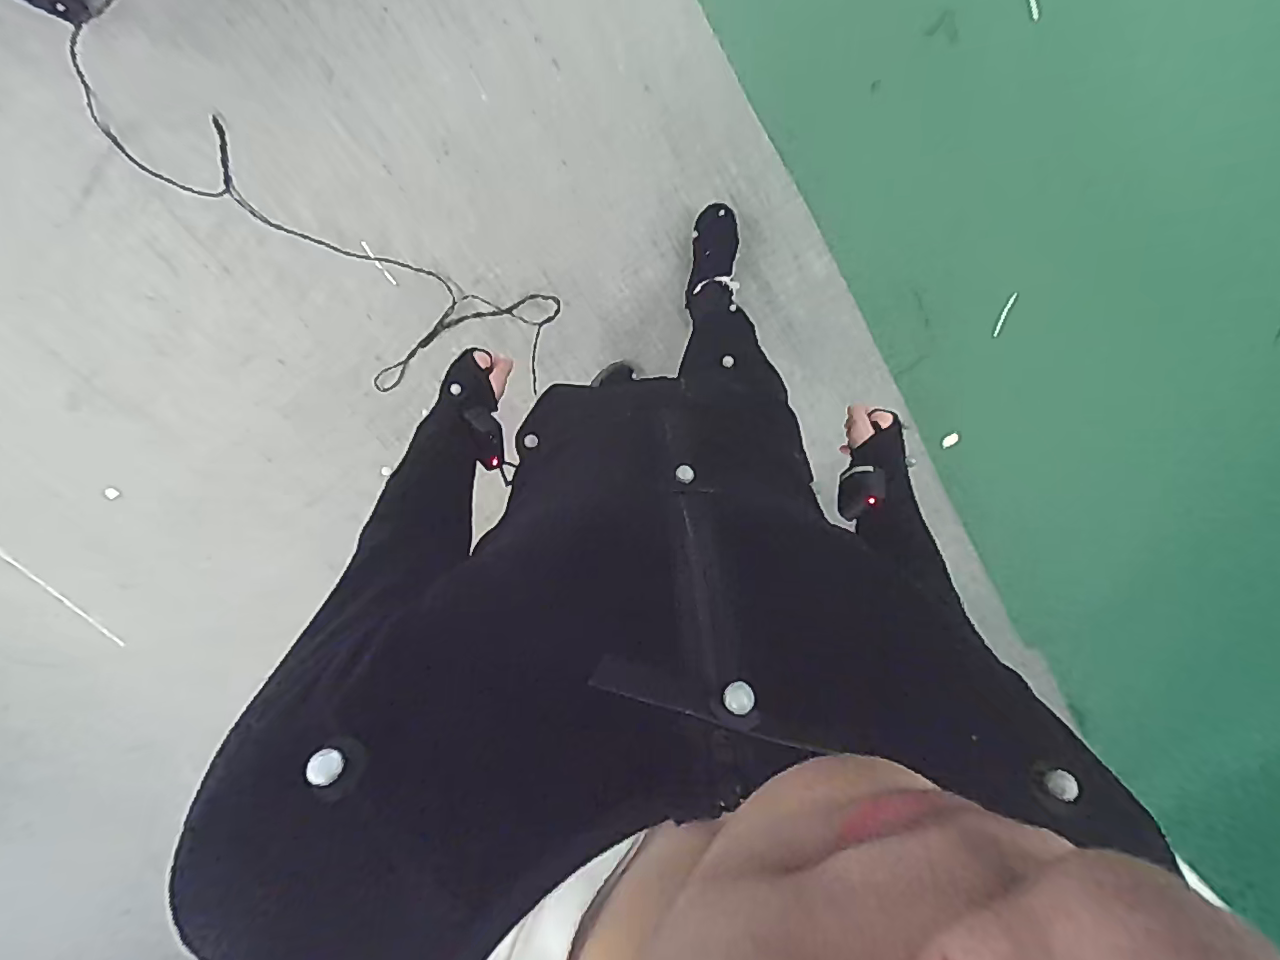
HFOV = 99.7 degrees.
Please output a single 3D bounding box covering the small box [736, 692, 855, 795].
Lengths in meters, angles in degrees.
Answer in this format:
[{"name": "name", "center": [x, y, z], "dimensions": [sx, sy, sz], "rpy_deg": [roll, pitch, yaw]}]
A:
[{"name": "small box", "center": [0.326, 0.591, 1.169], "dimensions": [0.168, 0.176, 0.179], "rpy_deg": [-30, 107, 9]}]
